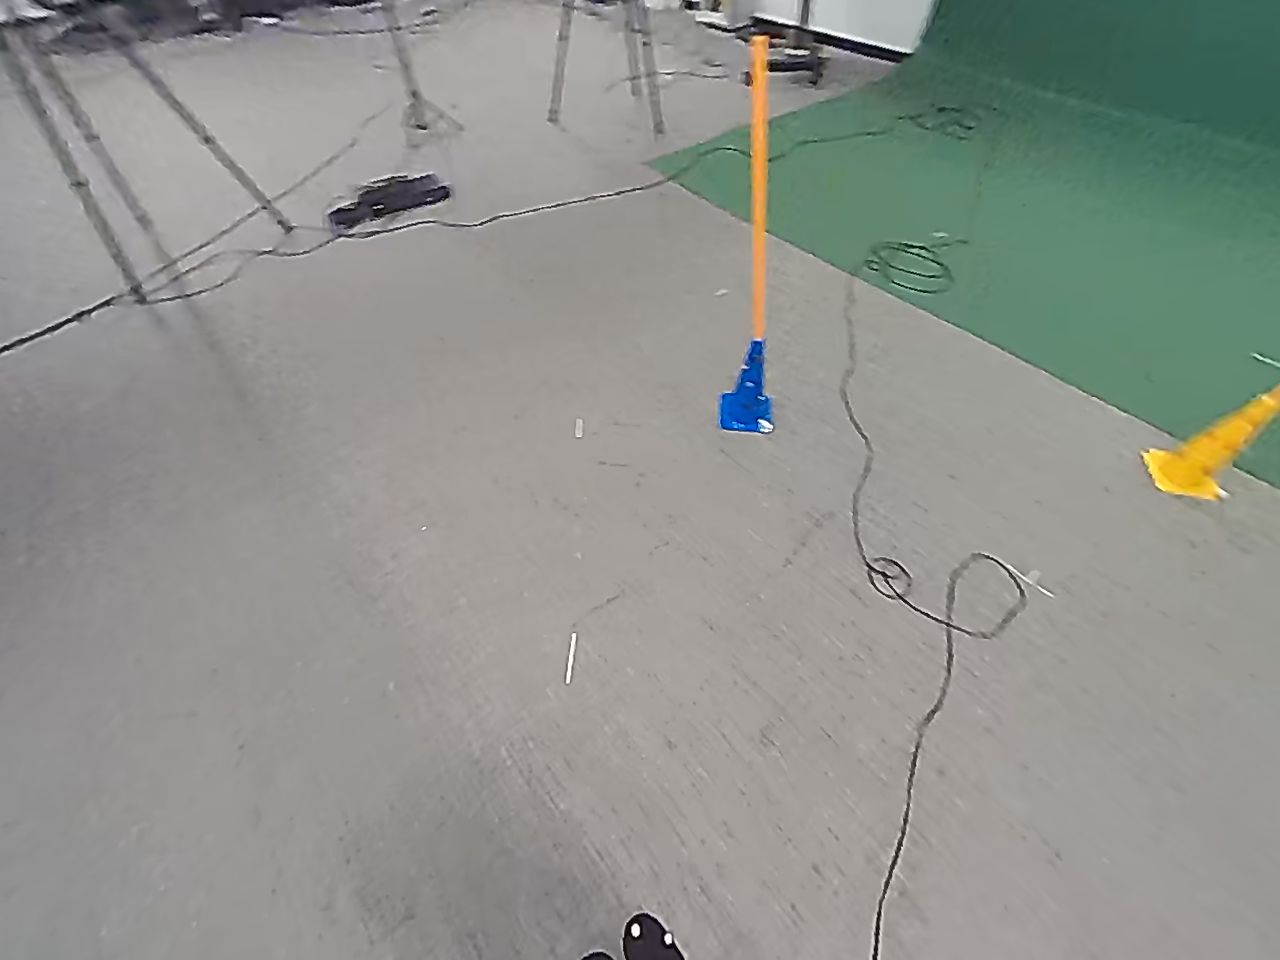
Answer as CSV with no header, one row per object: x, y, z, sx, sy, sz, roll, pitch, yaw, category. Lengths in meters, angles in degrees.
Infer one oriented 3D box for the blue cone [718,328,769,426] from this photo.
0.389,-0.376,1.940,0.193,0.380,0.192,3,53,5,blue cone
